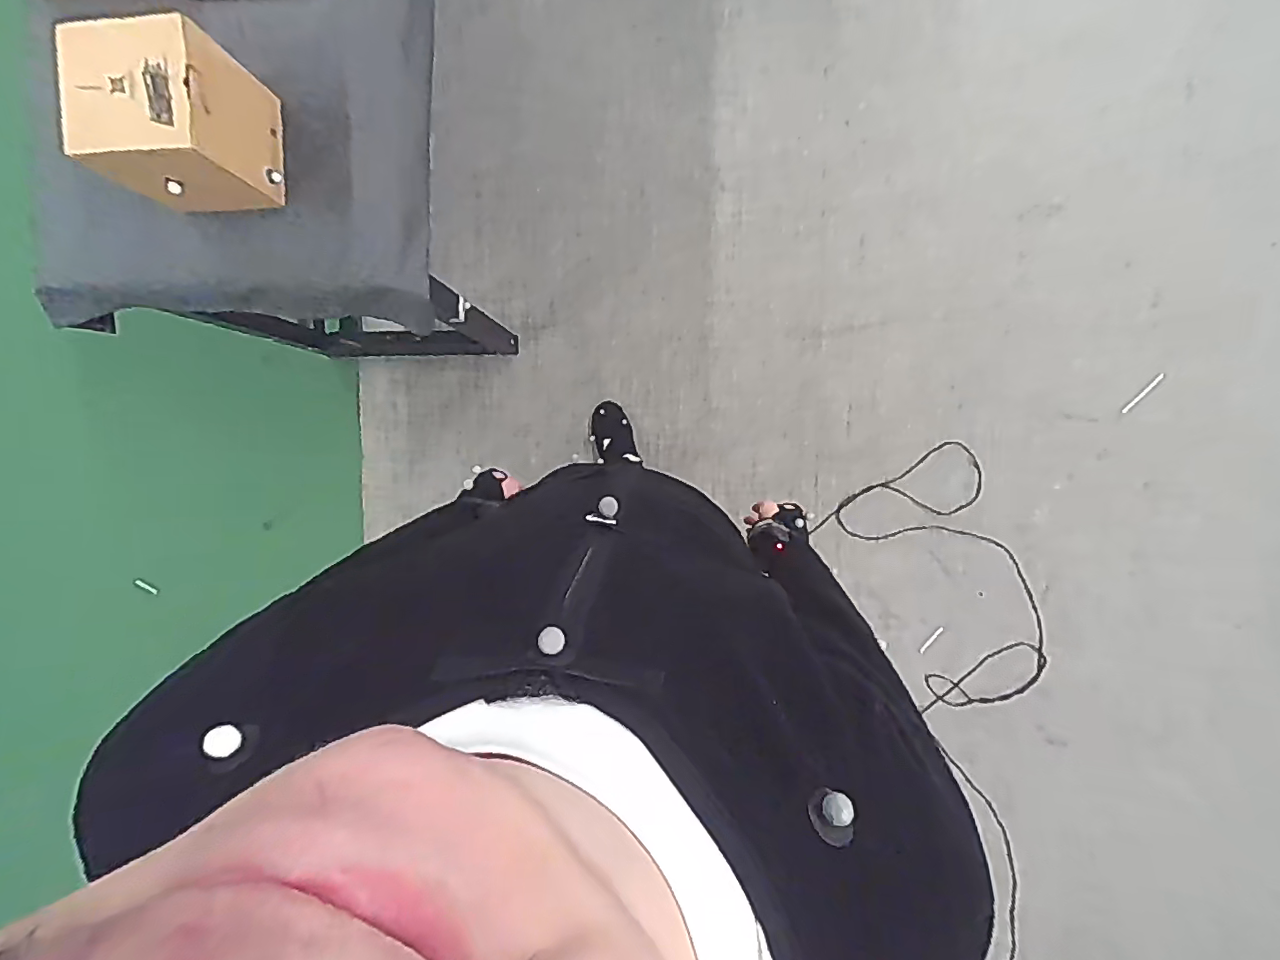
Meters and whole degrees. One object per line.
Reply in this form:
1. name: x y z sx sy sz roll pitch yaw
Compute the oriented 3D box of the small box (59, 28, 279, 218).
1. small box: -0.645 -0.490 0.765 0.179 0.176 0.168 -1 92 3
